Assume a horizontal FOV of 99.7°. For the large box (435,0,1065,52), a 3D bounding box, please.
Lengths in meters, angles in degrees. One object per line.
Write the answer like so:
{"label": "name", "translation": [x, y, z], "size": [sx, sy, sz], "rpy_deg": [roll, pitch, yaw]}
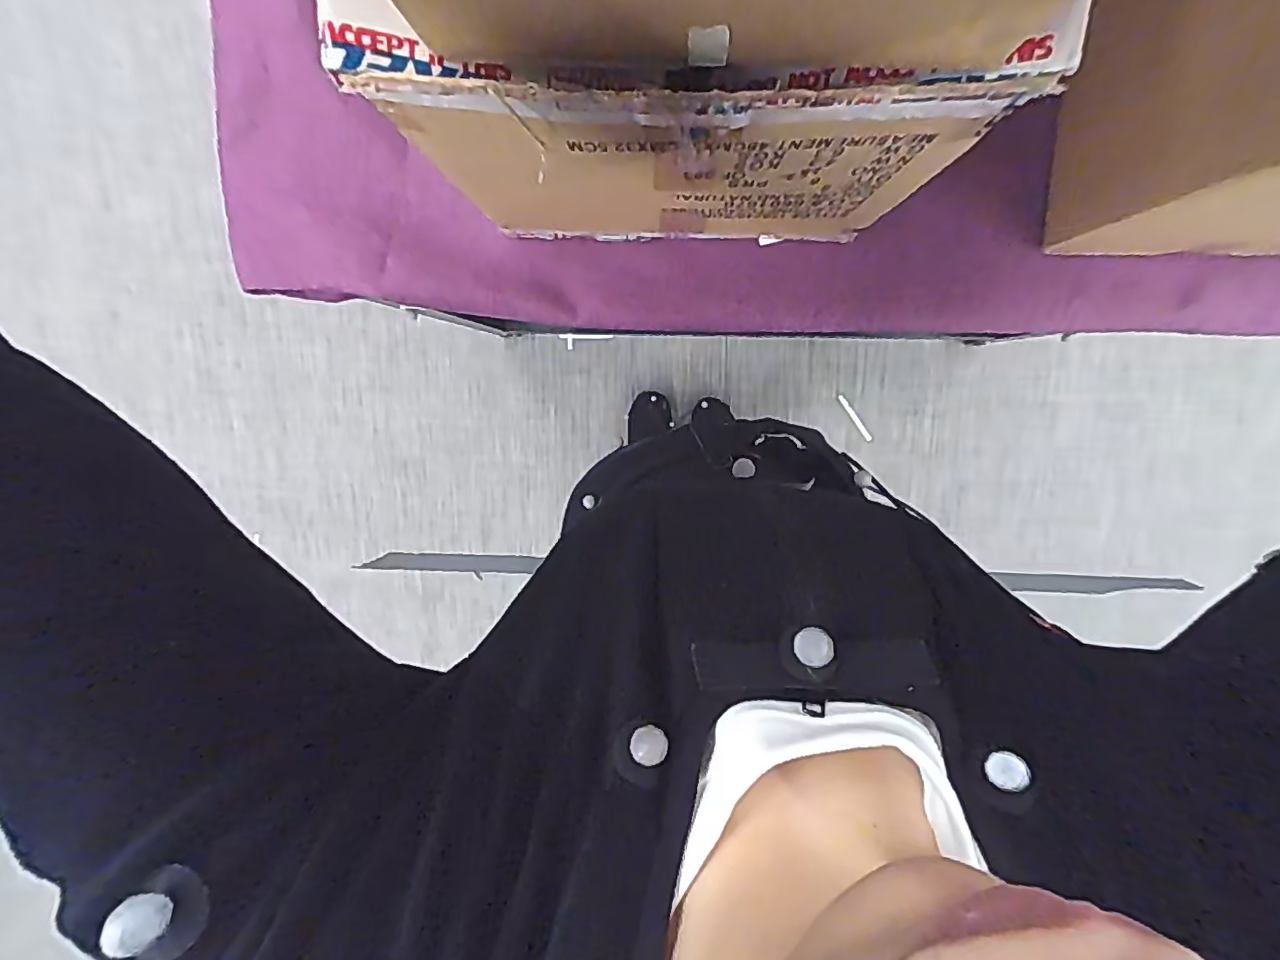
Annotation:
{"label": "large box", "translation": [0.046, -0.398, 0.109], "size": [0.320, 0.320, 0.408], "rpy_deg": [3, 101, 5]}
